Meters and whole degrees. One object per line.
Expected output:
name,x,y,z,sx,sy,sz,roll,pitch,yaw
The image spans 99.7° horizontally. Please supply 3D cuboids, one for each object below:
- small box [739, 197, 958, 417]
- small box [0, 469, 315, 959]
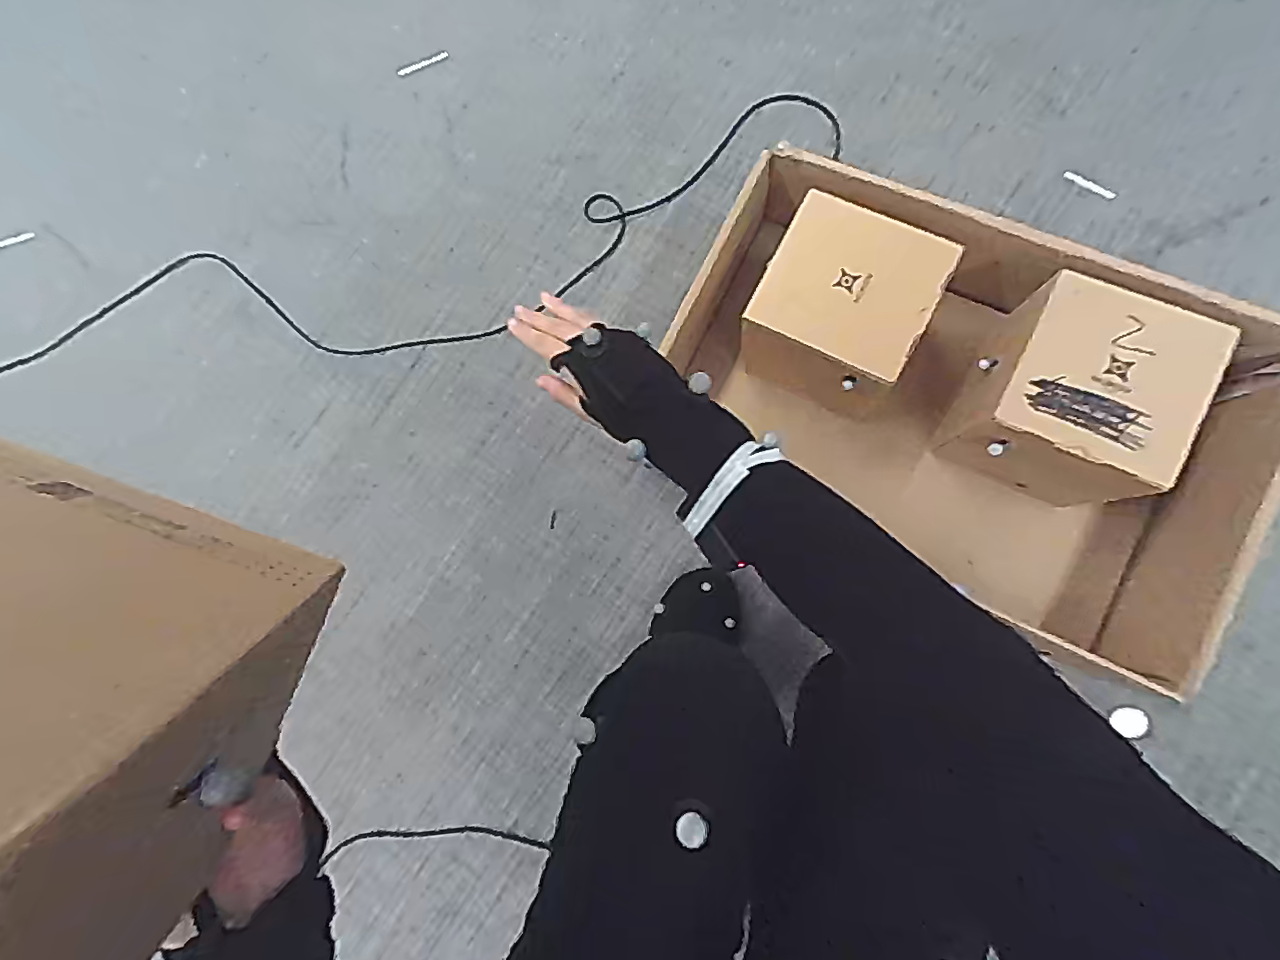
small box,0.231,-0.193,0.653,0.179,0.176,0.168,27,88,10
small box,-0.245,0.110,0.180,0.168,0.176,0.179,24,98,-11
